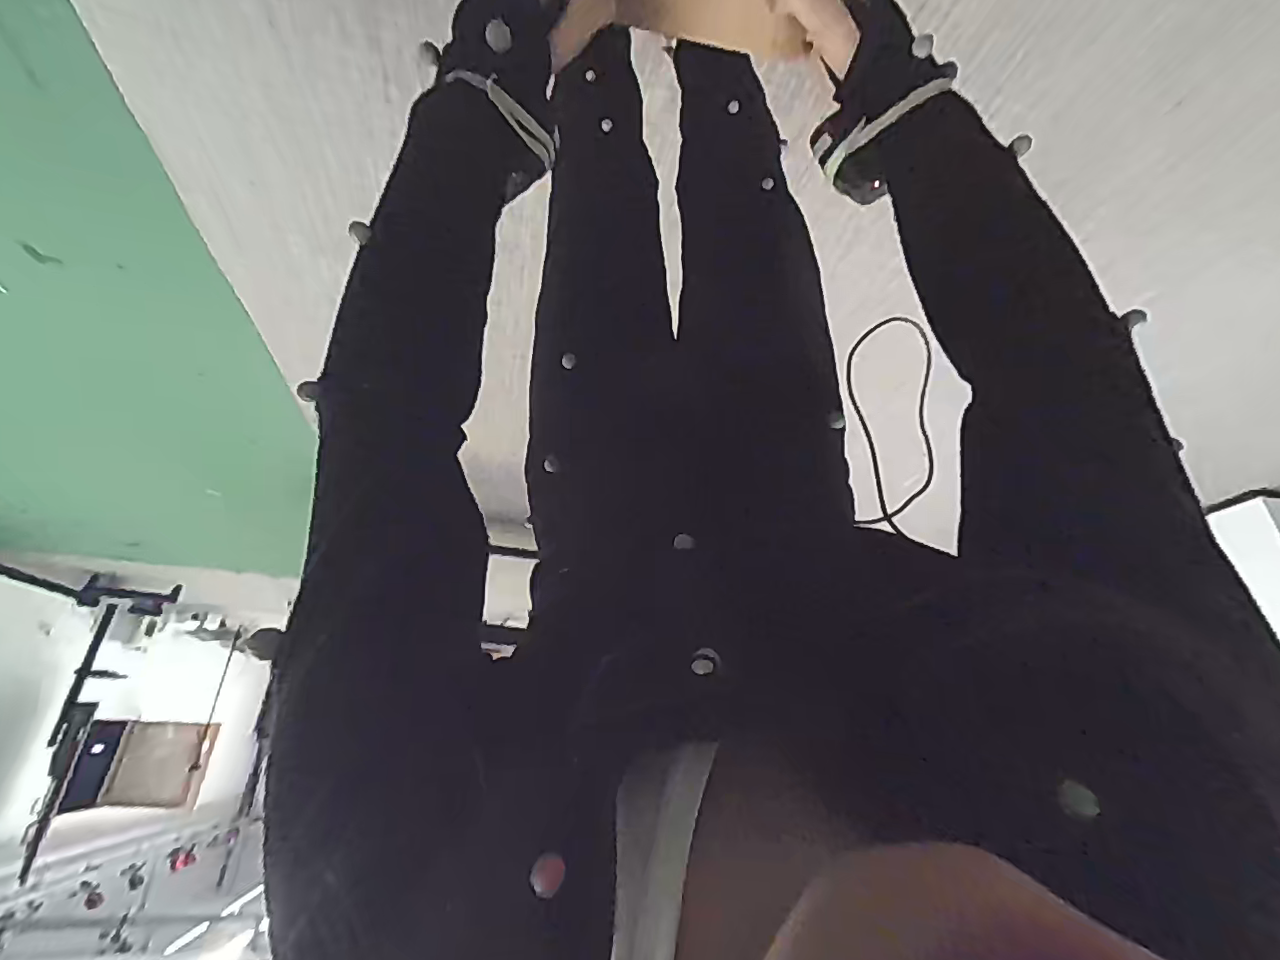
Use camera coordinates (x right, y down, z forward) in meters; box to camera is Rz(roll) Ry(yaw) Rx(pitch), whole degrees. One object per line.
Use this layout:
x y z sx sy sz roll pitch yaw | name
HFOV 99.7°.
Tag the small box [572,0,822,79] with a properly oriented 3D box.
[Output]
0.050 -0.434 0.382 0.179 0.176 0.168 6 153 -8 | small box
